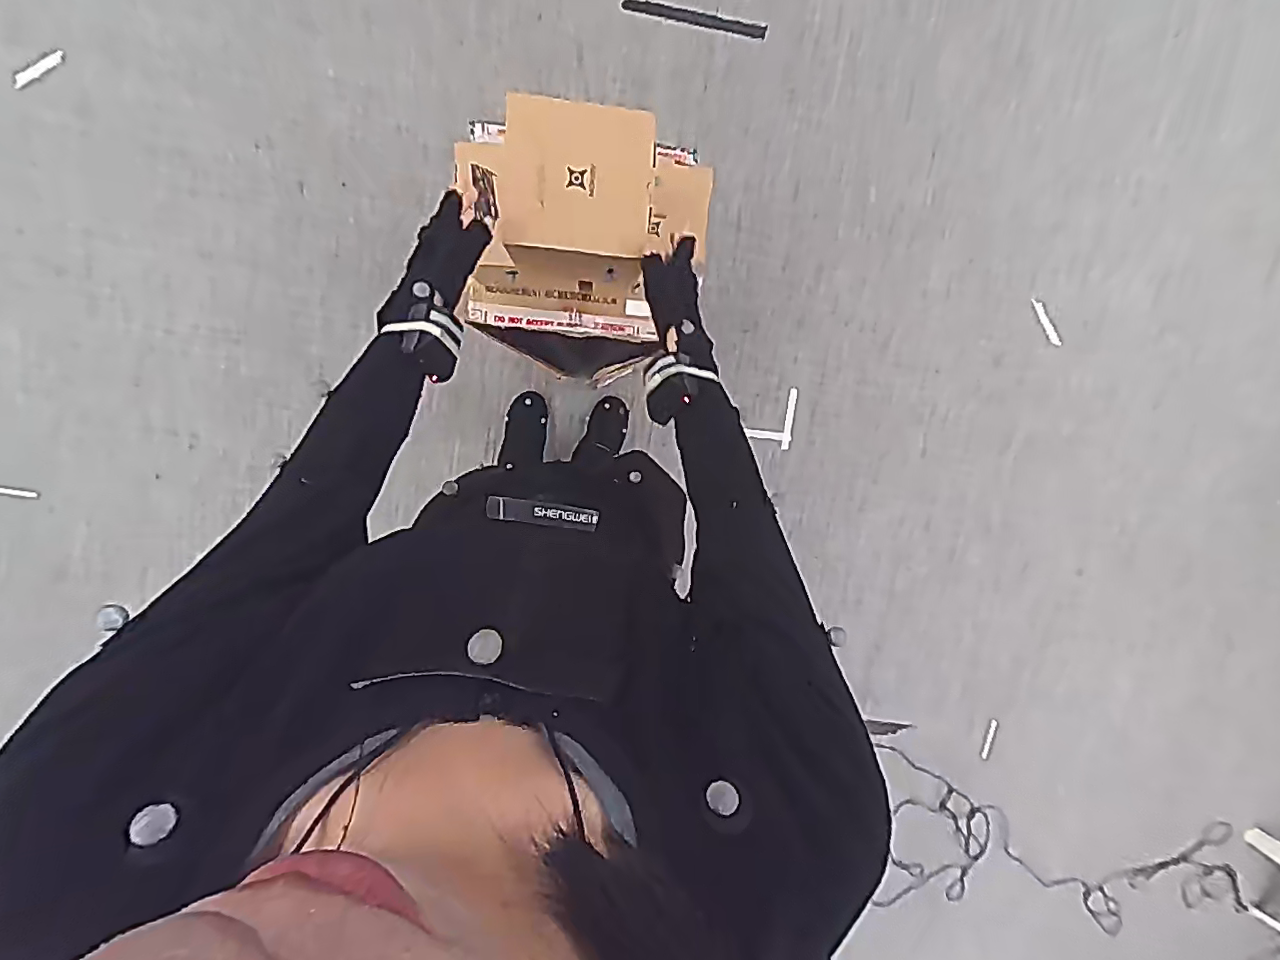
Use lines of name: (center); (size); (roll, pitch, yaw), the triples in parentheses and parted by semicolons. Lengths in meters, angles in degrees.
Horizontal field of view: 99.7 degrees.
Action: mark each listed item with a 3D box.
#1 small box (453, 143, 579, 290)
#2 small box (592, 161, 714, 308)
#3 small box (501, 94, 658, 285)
small box: (-0.185, -0.403, 0.857); (0.179, 0.176, 0.168); (2, 99, -5)
small box: (0.011, -0.391, 0.877); (0.168, 0.176, 0.179); (5, 98, -7)
small box: (-0.079, -0.361, 0.706); (0.179, 0.176, 0.168); (3, 98, -6)
